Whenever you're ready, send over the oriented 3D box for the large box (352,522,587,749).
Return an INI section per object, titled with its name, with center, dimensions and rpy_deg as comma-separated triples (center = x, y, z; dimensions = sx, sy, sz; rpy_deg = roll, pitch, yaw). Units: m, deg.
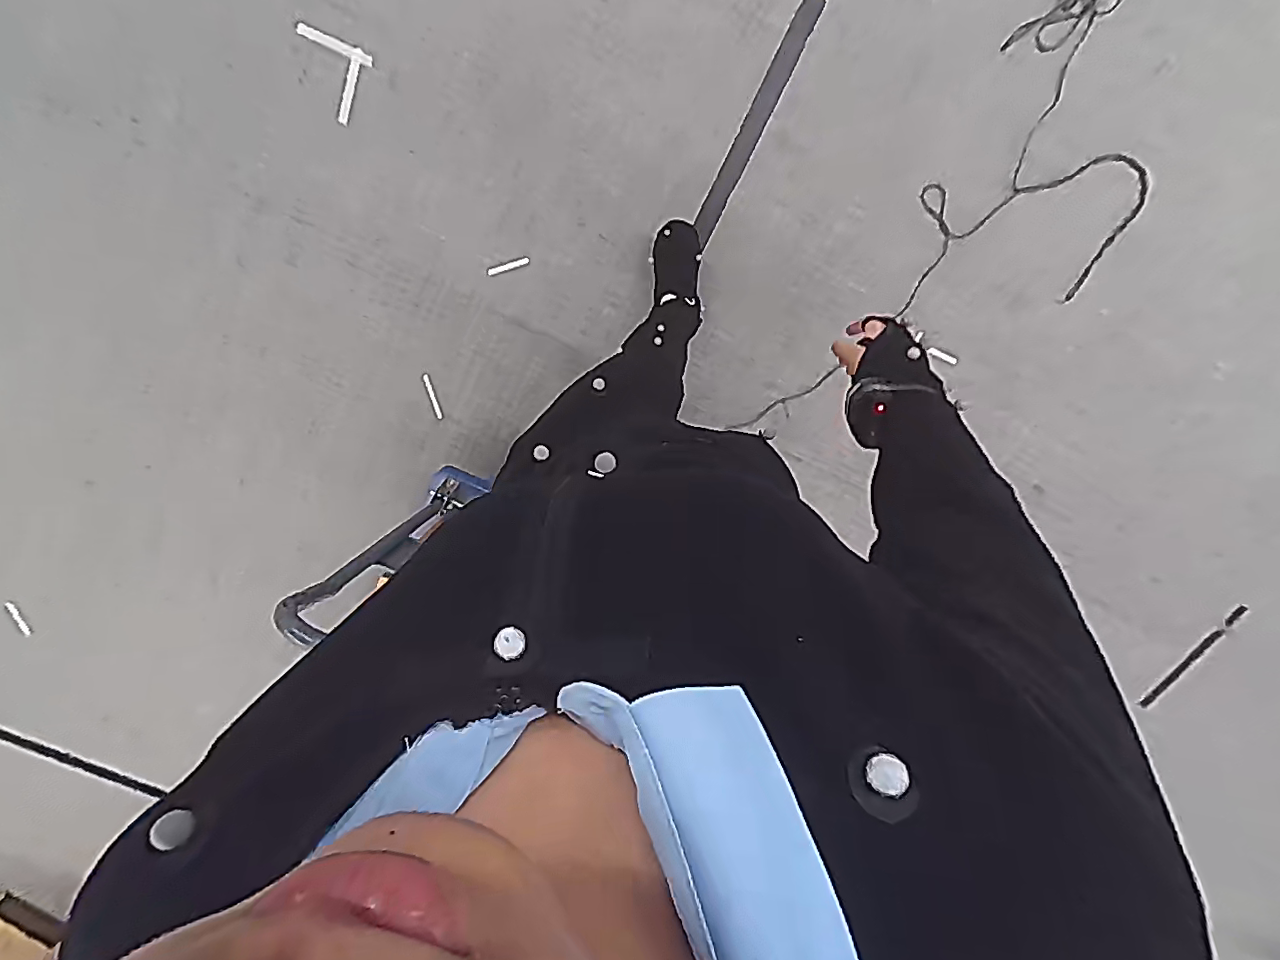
[large box]
center = -0.376, 0.349, 1.280
dimensions = 0.408, 0.320, 0.320
rpy_deg = 22, 106, -4
